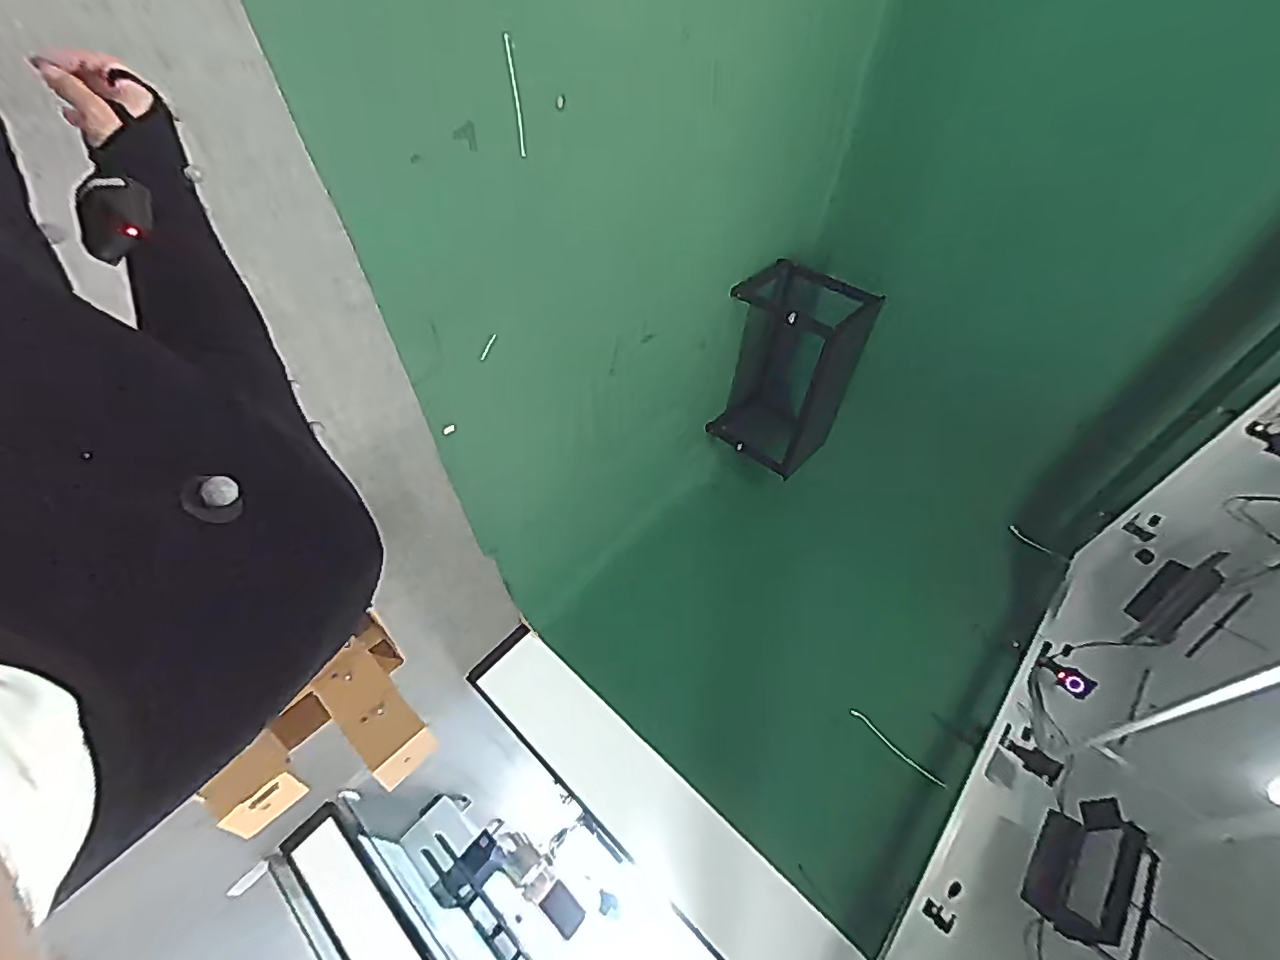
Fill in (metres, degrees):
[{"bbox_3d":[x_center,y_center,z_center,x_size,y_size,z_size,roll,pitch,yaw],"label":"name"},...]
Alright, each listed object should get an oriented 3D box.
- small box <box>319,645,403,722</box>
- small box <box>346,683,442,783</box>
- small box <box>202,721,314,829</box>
[{"bbox_3d":[-0.812,0.626,1.604,0.168,0.176,0.179,-36,149,-33],"label":"small box"},{"bbox_3d":[-0.694,0.713,1.532,0.168,0.176,0.179,-37,150,-33],"label":"small box"},{"bbox_3d":[-1.022,0.783,1.447,0.168,0.176,0.179,-35,149,-32],"label":"small box"}]
